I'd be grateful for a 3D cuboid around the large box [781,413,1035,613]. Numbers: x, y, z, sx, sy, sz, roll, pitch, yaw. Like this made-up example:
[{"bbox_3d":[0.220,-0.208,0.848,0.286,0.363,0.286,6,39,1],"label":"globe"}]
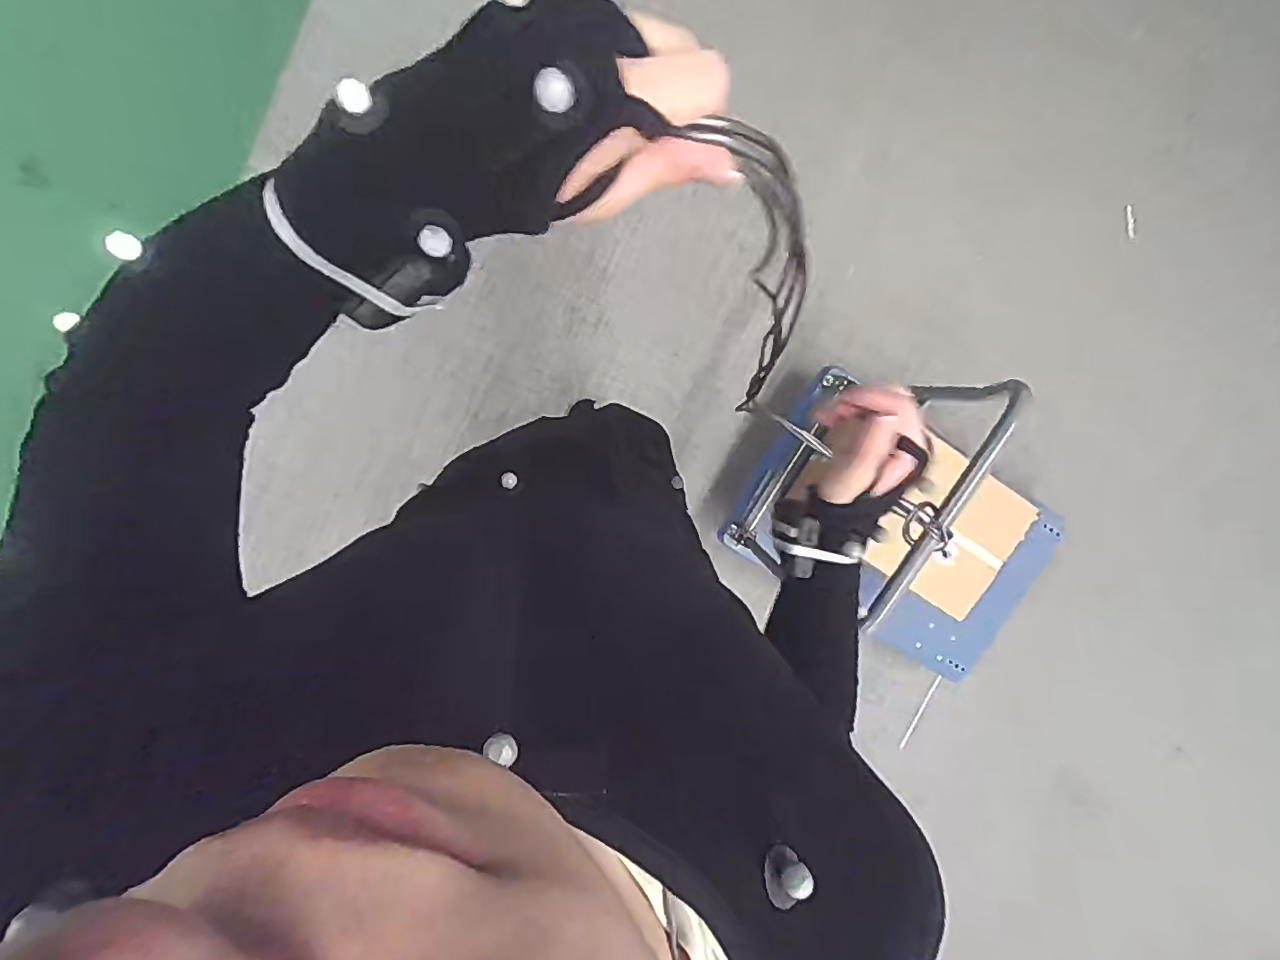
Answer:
[{"bbox_3d":[0.639,0.061,1.354,0.408,0.320,0.320,32,95,-9],"label":"large box"}]
